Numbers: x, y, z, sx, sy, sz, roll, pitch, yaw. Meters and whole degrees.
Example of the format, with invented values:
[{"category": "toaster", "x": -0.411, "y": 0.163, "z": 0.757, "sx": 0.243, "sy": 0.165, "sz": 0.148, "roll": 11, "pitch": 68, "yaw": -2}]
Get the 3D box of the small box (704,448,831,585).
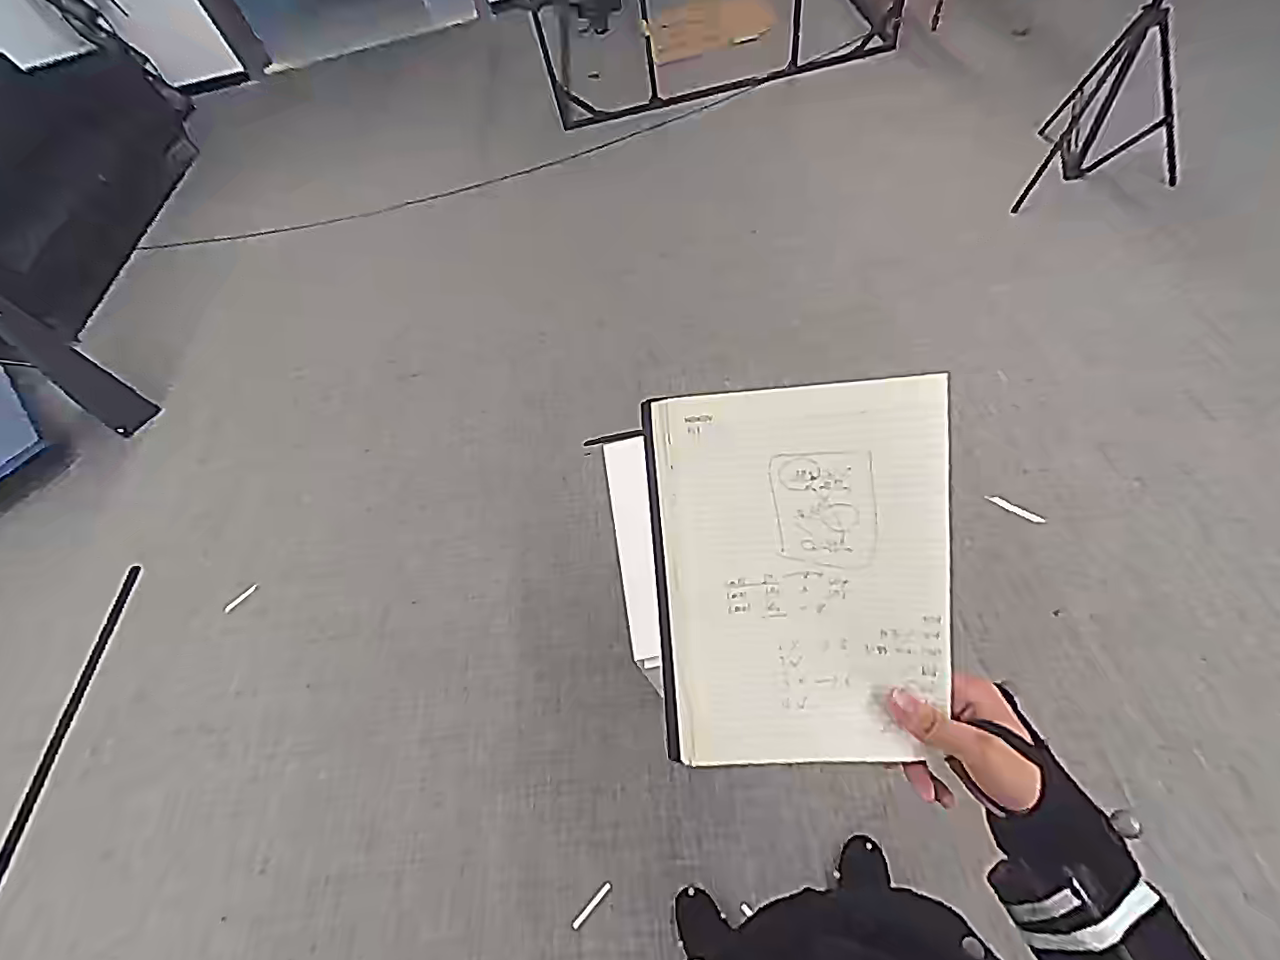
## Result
[{"category": "small box", "x": 0.233, "y": 0.073, "z": 1.018, "sx": 0.179, "sy": 0.176, "sz": 0.168, "roll": -20, "pitch": 56, "yaw": 0}]
